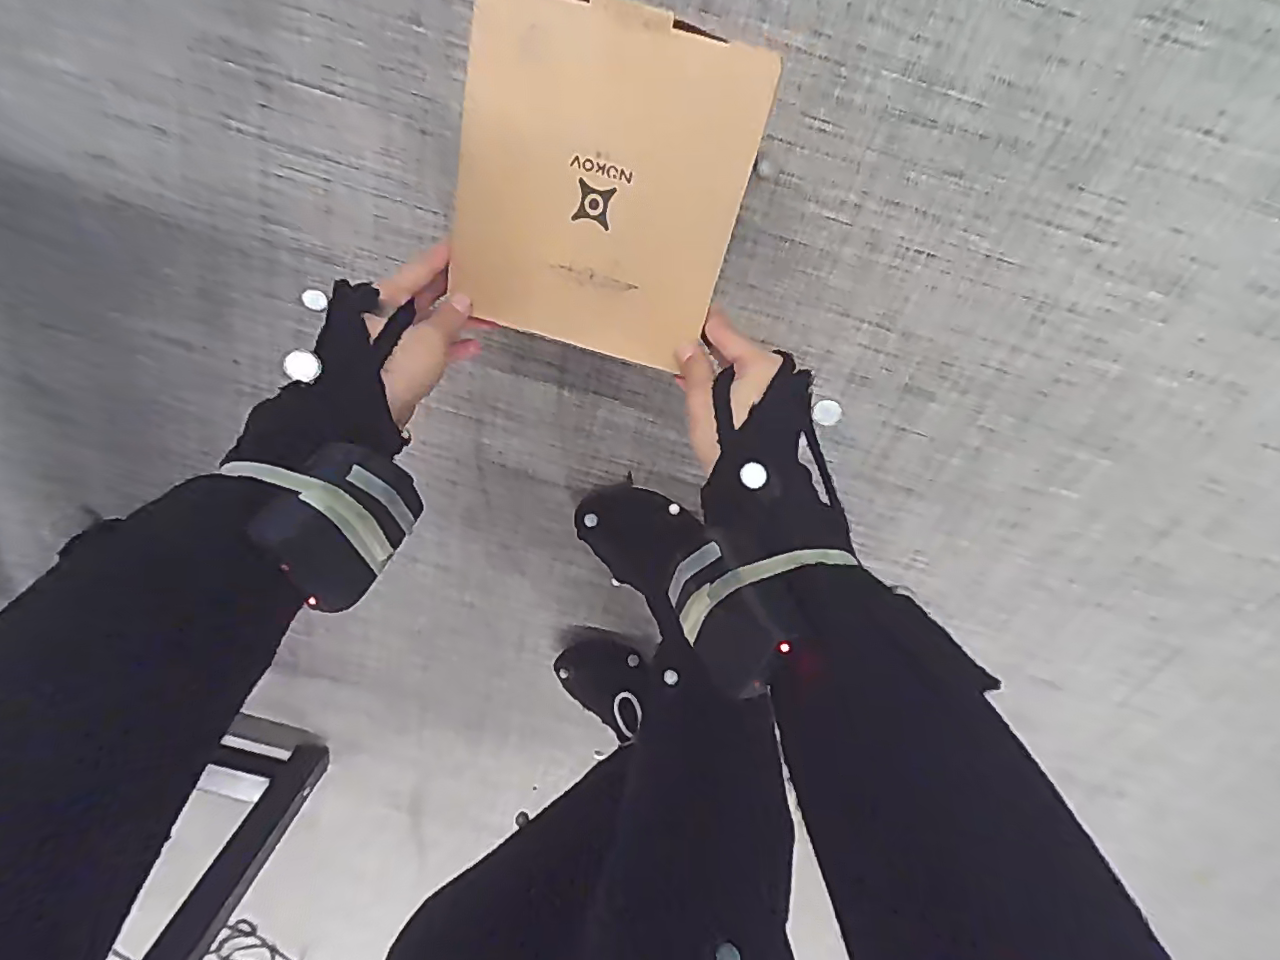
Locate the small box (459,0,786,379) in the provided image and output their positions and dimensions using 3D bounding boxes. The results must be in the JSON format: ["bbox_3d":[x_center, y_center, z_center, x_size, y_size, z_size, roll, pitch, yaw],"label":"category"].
[{"bbox_3d":[-0.011,-0.196,0.391,0.168,0.176,0.179,16,117,1],"label":"small box"}]
